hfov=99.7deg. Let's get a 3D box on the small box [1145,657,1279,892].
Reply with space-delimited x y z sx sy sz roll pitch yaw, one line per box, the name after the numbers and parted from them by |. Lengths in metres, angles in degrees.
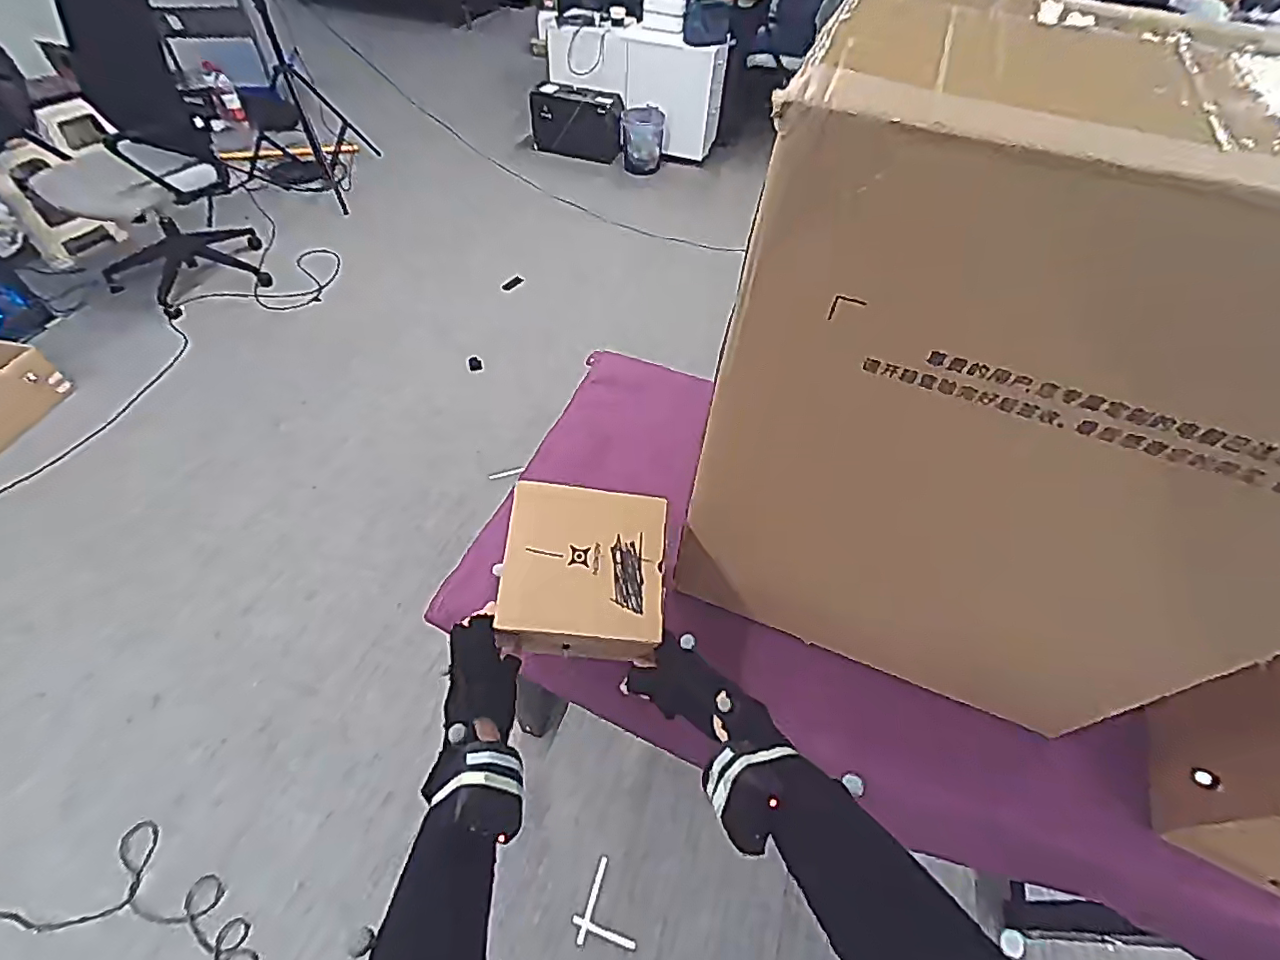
0.716 0.337 0.598 0.168 0.176 0.179 24 52 14 | small box
